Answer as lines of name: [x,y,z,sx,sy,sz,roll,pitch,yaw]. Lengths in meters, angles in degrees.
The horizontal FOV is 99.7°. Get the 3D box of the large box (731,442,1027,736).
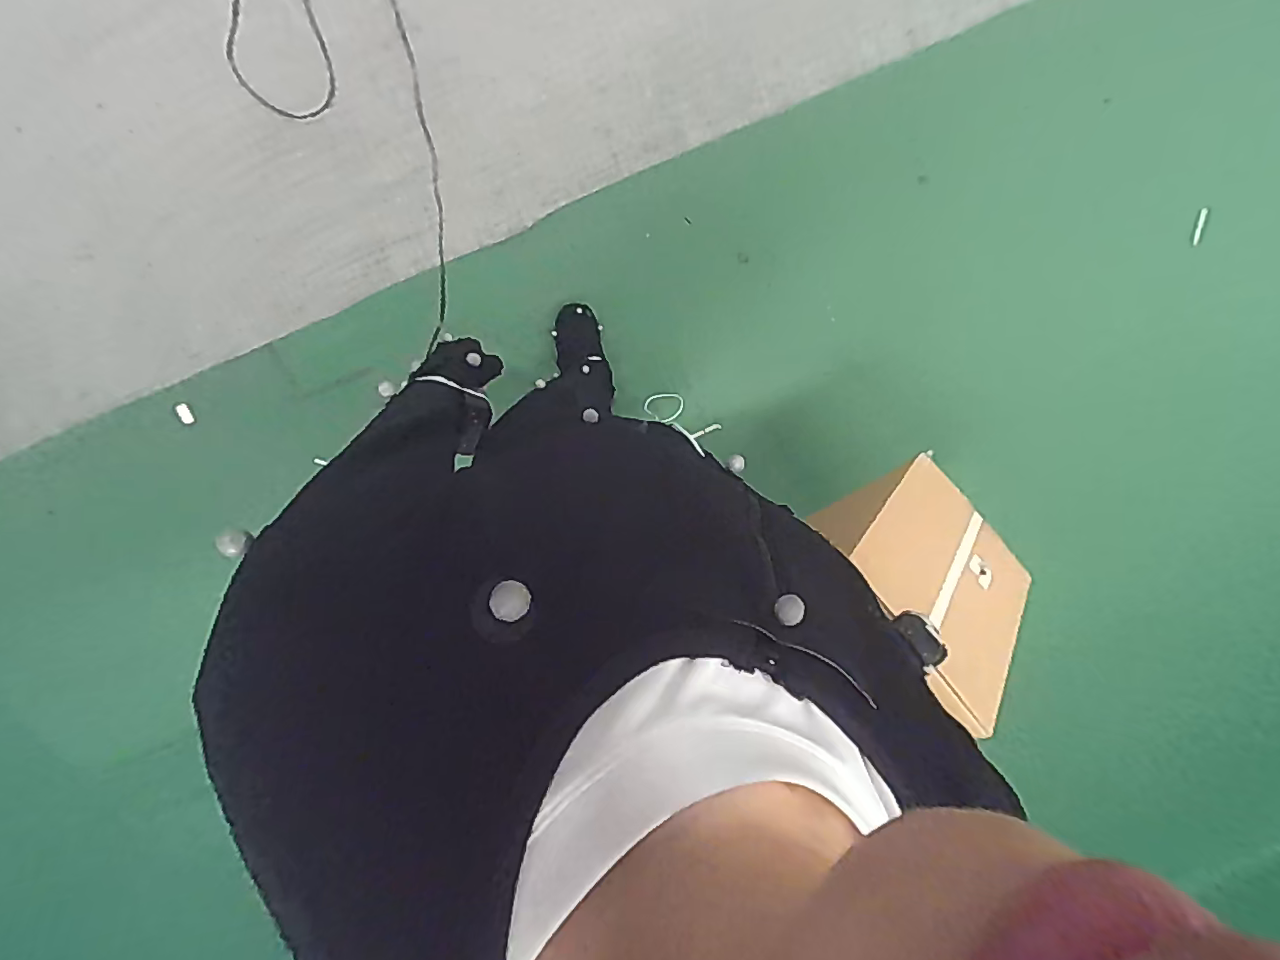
large box: [0.446,0.200,1.013,0.320,0.408,0.320,51,139,3]
